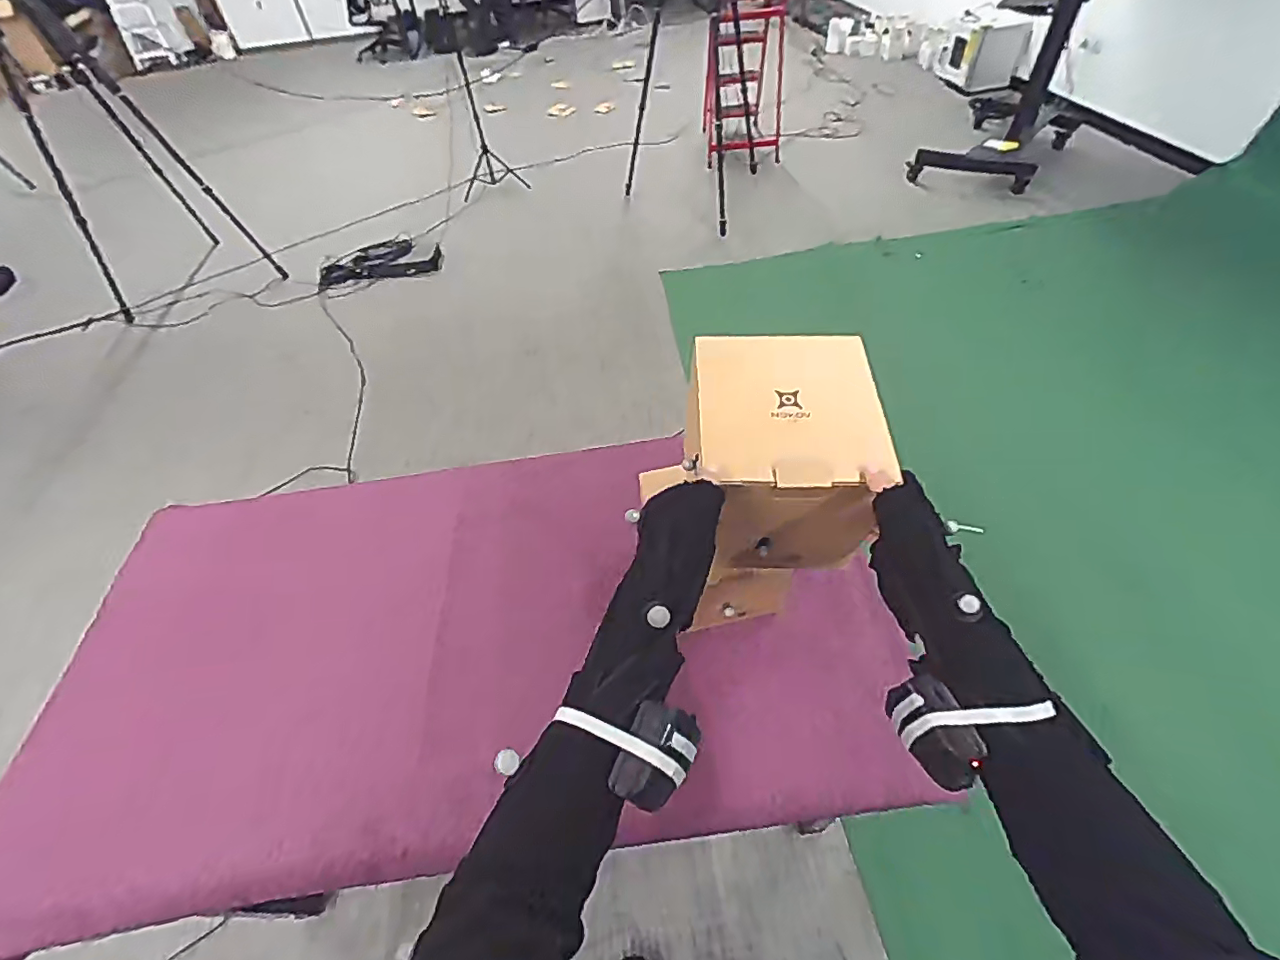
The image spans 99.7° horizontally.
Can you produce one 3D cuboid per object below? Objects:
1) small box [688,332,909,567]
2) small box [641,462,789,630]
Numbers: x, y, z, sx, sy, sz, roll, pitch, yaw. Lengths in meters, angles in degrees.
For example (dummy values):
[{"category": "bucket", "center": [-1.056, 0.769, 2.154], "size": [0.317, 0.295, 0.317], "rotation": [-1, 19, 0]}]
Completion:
[{"category": "small box", "center": [0.139, -0.026, 0.549], "size": [0.168, 0.176, 0.179], "rotation": [1, 59, 1]}, {"category": "small box", "center": [0.100, 0.088, 0.772], "size": [0.168, 0.176, 0.179], "rotation": [-12, 51, -3]}]
